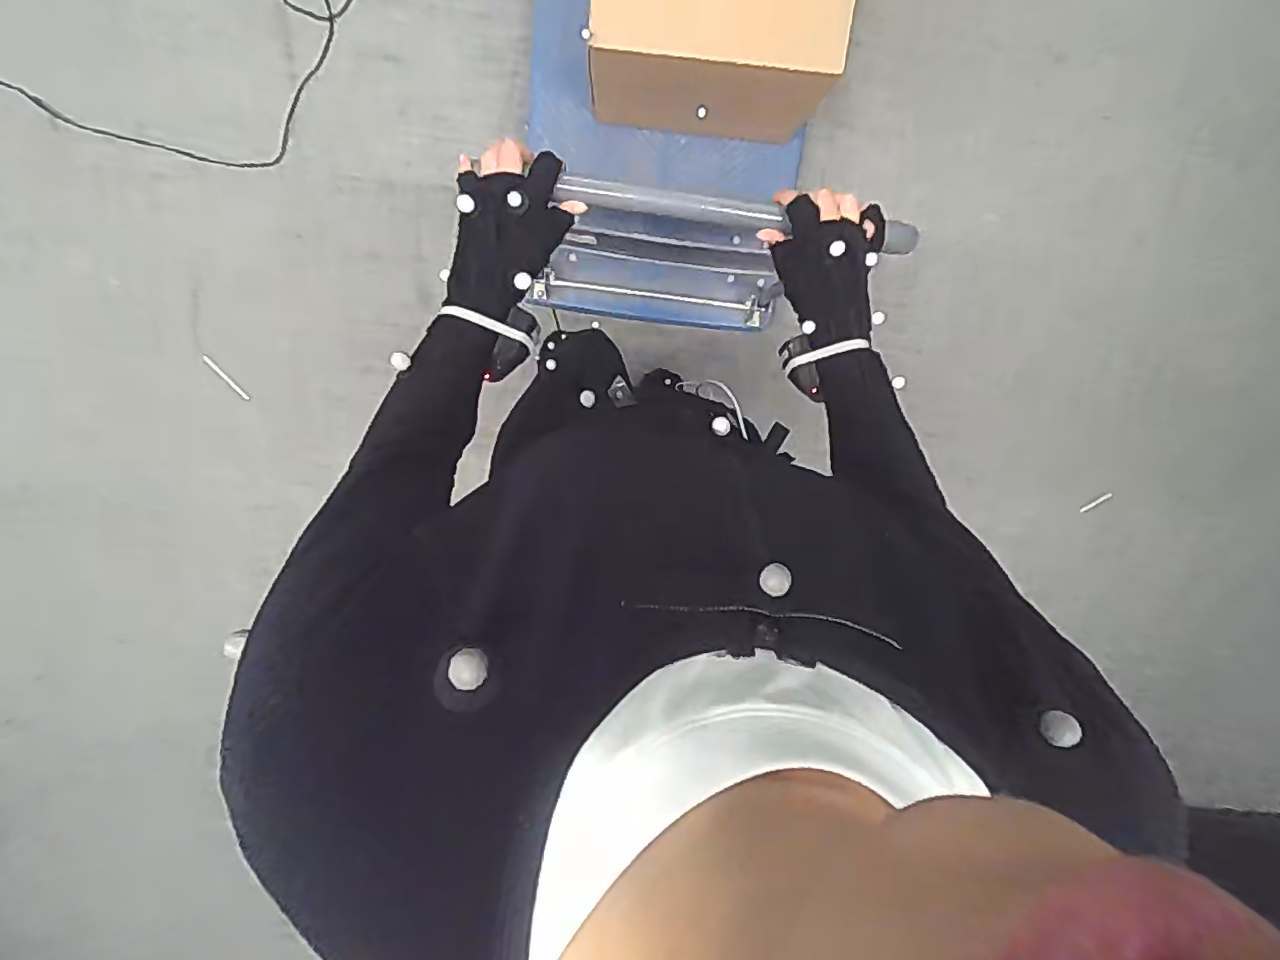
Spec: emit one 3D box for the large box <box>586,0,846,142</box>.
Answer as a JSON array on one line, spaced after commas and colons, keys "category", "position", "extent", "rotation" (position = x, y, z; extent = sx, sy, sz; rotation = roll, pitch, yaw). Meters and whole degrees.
[{"category": "large box", "position": [0.123, -0.832, 0.956], "extent": [0.408, 0.320, 0.320], "rotation": [4, 103, -2]}]
